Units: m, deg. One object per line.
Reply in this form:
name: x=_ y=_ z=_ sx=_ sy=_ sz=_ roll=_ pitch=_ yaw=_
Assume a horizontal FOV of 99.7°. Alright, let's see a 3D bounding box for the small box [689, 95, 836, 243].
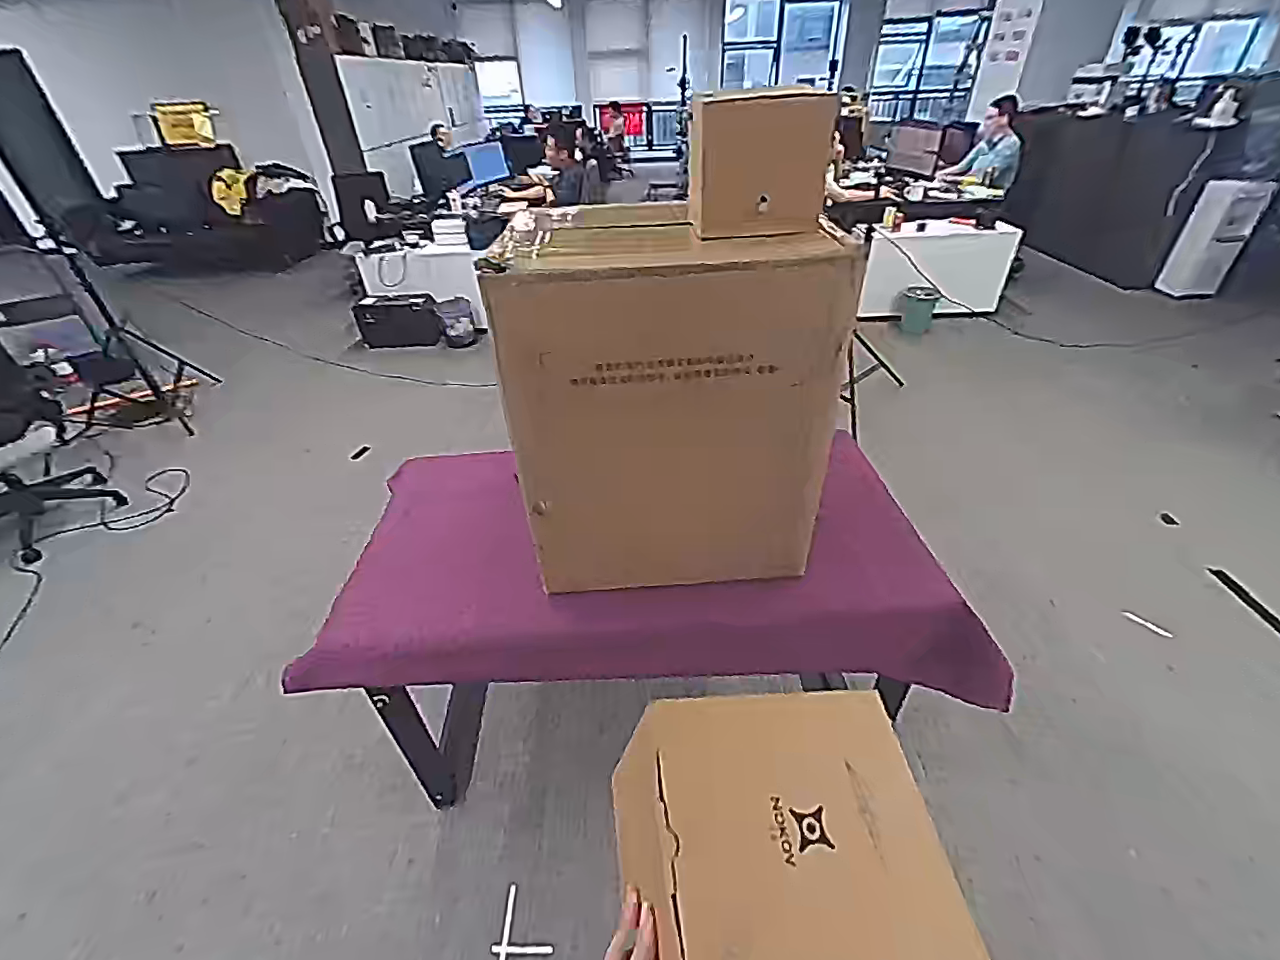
small box: x=0.168 y=-0.463 z=0.806 sx=0.179 sy=0.176 sz=0.168 roll=-3 pitch=37 yaw=0
